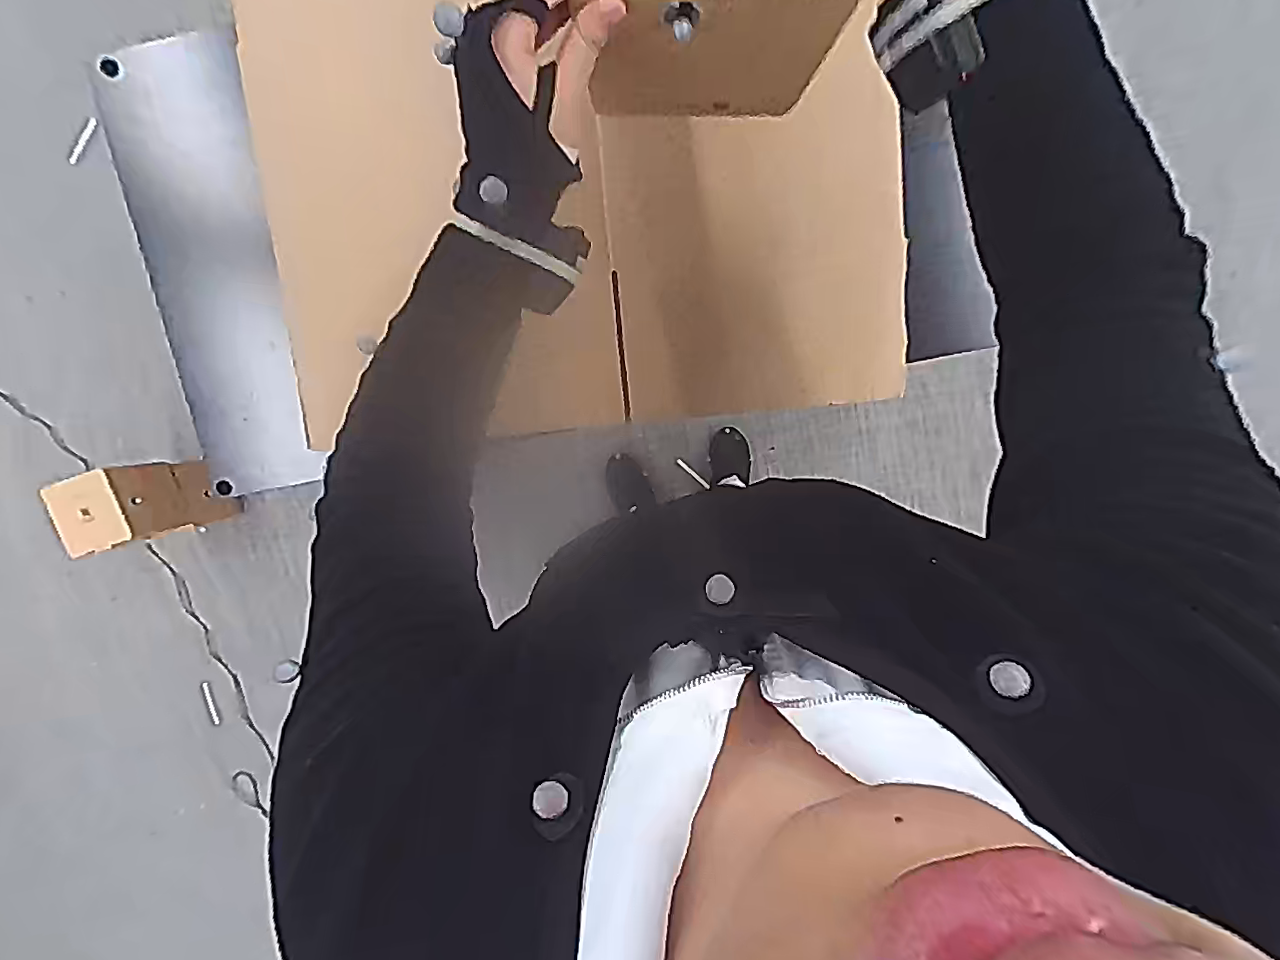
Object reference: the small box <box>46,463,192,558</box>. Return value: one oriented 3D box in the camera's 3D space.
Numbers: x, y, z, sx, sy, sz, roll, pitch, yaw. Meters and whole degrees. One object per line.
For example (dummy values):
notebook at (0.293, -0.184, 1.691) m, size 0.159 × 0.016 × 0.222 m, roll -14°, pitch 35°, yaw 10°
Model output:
small box at (-1.256, 0.067, 1.319) m, size 0.168 × 0.176 × 0.179 m, roll -18°, pitch 95°, yaw 4°

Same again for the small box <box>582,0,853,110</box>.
small box at (0.044, -0.376, 0.350) m, size 0.168 × 0.176 × 0.179 m, roll 0°, pitch 103°, yaw 1°

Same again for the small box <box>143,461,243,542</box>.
small box at (-1.245, 0.051, 1.481) m, size 0.168 × 0.176 × 0.179 m, roll -15°, pitch 97°, yaw 5°
